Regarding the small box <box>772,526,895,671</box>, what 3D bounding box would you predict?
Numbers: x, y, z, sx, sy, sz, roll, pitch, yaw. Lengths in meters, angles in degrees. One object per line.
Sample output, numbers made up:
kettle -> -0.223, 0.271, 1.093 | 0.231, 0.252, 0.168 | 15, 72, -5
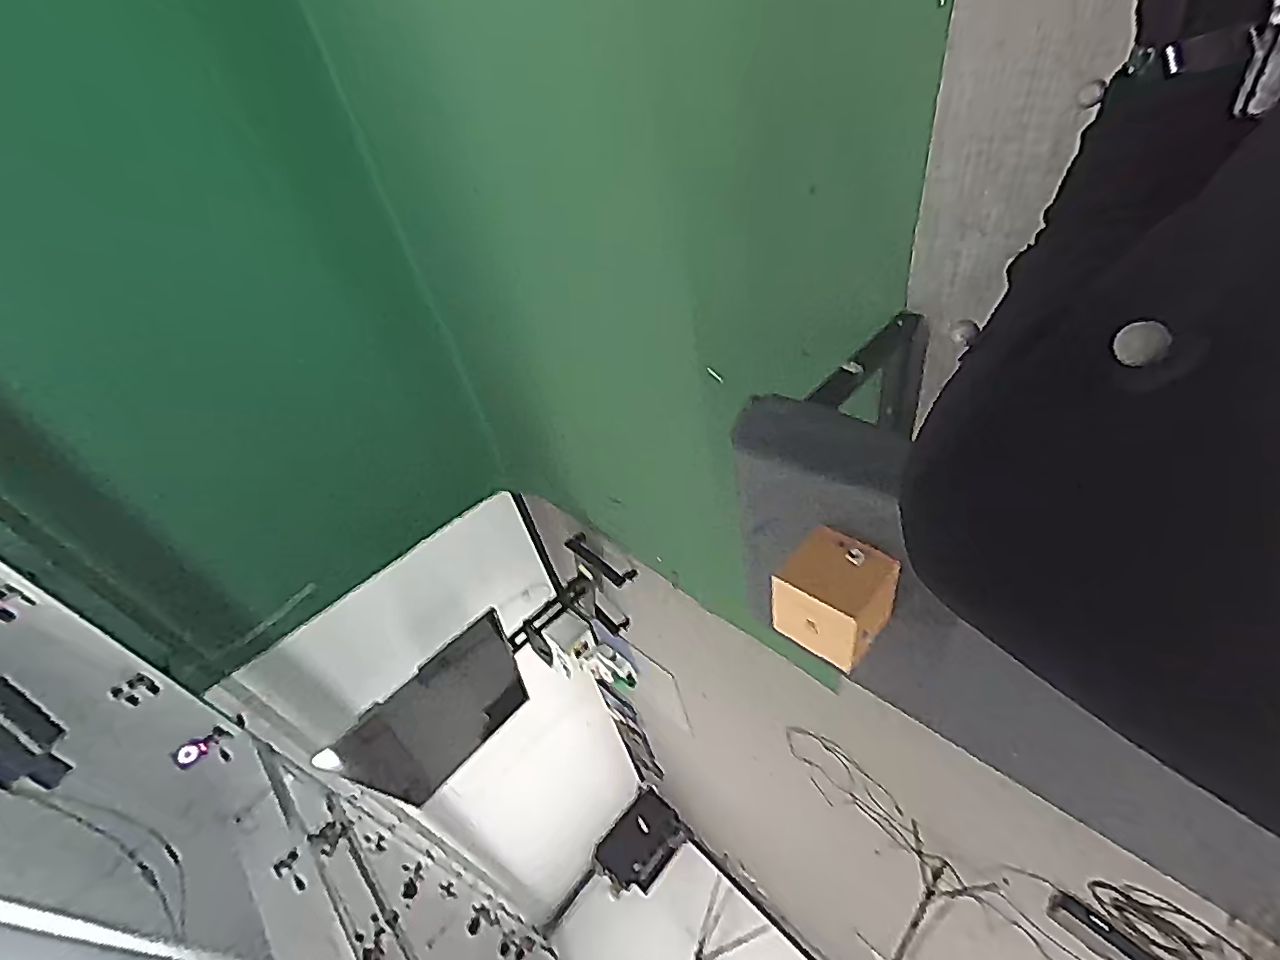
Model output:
small box -> 0.373, 0.224, 1.049 | 0.168, 0.176, 0.179 | 25, 142, 37
